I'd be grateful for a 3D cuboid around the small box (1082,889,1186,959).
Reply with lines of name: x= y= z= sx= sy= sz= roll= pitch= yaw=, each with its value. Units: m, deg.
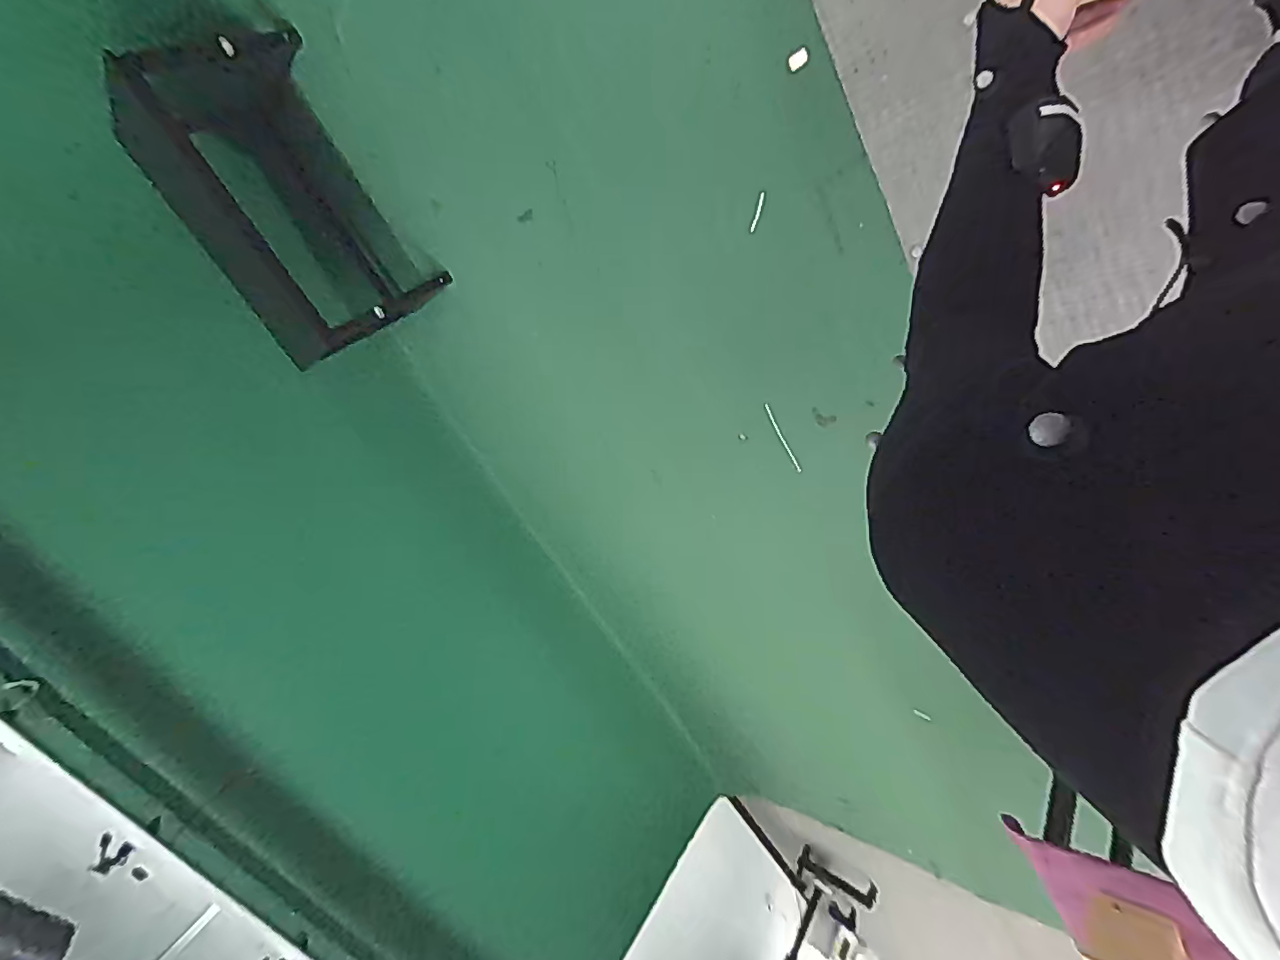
small box: x=1.214 y=1.164 z=1.326 sx=0.168 sy=0.176 sz=0.179 roll=-9 pitch=122 yaw=49
